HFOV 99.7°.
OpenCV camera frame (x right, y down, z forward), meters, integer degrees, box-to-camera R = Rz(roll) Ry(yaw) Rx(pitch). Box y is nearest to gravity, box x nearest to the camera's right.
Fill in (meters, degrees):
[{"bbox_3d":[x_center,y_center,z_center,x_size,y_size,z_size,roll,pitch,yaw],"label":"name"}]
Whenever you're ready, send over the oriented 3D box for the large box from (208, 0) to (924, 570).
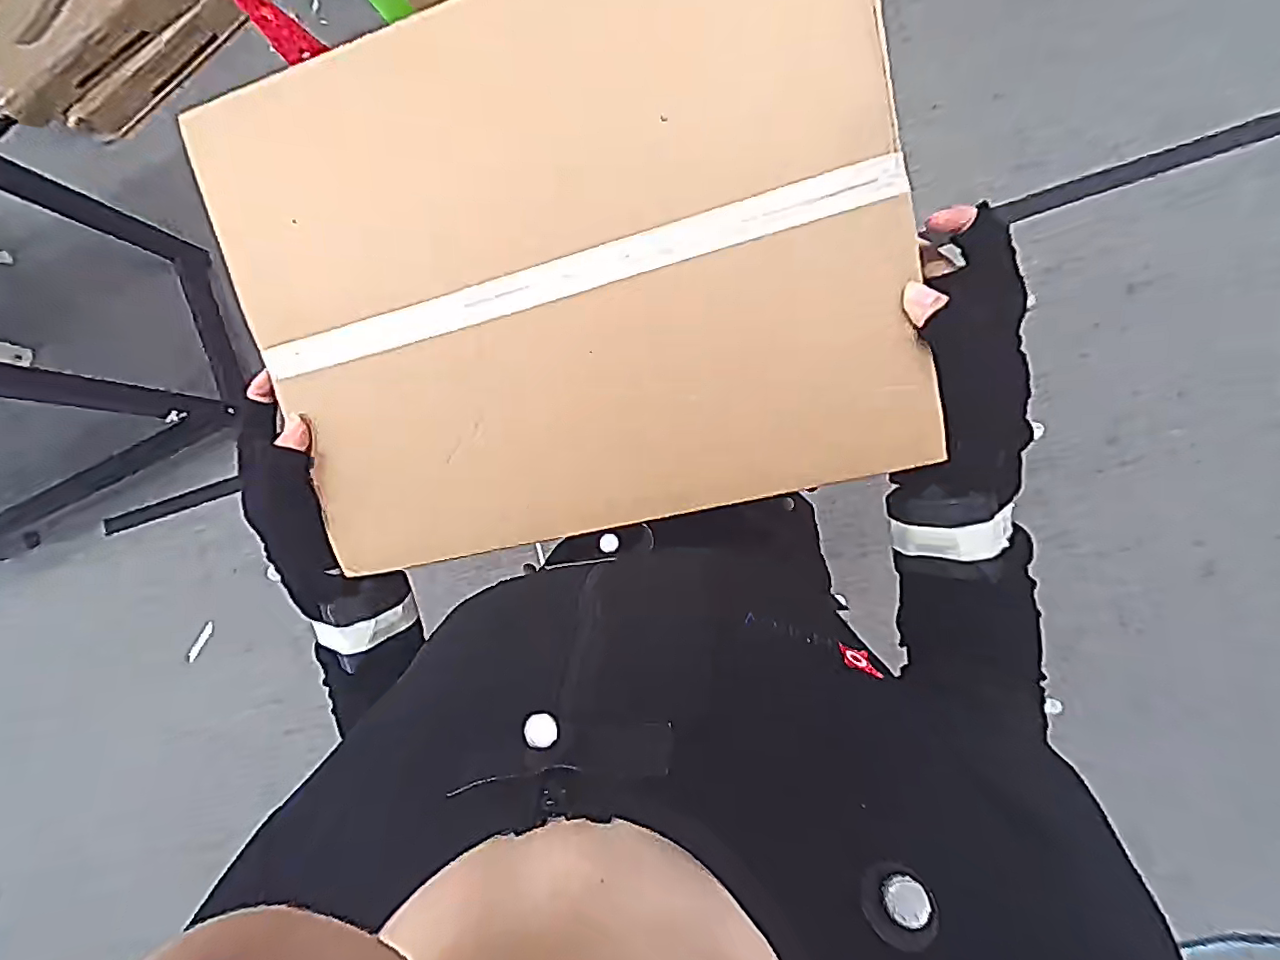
[{"bbox_3d":[-0.031,-0.153,0.479,0.408,0.320,0.320,-12,100,12],"label":"large box"}]
